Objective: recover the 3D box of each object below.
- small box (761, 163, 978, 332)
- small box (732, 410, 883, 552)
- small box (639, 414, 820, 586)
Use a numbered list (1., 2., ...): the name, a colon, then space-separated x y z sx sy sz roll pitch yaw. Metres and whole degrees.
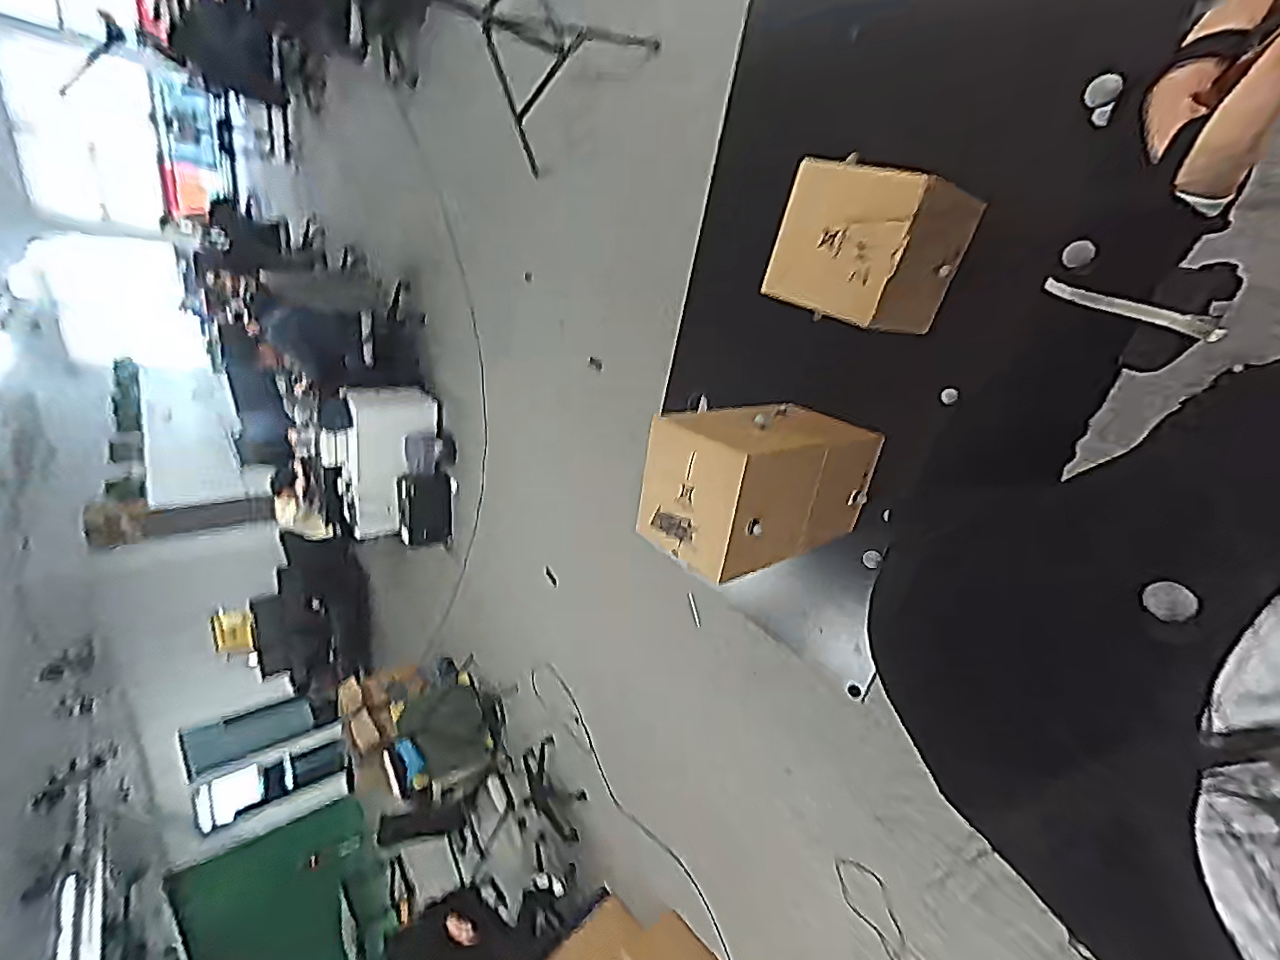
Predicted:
1. small box: 0.301 -0.302 0.720 0.179 0.176 0.168 38 126 39
2. small box: 0.245 -0.010 0.851 0.179 0.176 0.168 29 120 42
3. small box: 0.122 0.015 0.745 0.168 0.176 0.179 29 119 44
